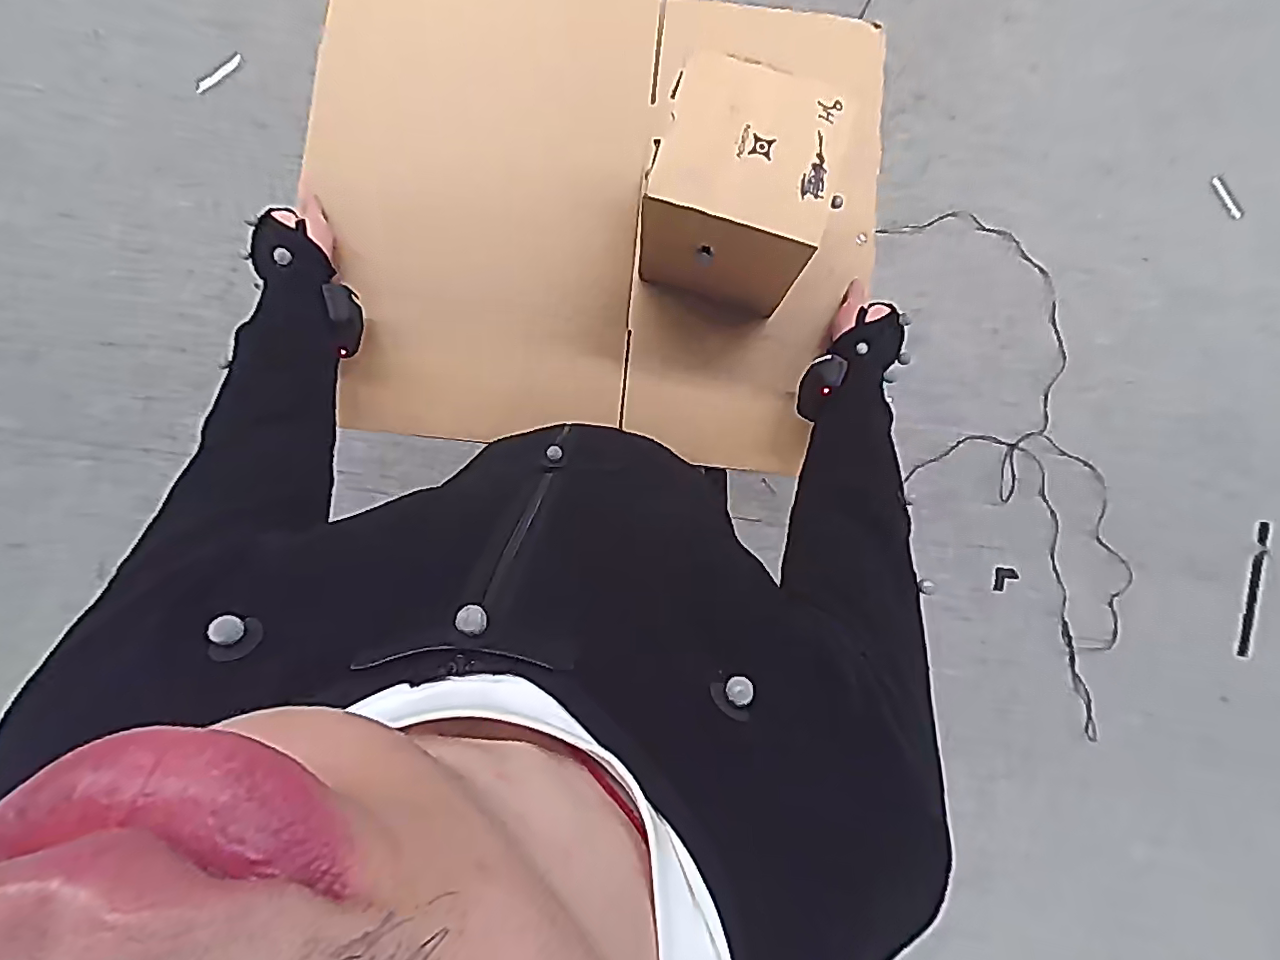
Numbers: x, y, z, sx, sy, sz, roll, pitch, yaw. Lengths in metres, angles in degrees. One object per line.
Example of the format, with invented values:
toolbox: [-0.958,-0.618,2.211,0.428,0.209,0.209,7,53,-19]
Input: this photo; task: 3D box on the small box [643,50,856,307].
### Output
small box: [0.107,-0.317,0.604,0.179,0.176,0.168,16,85,1]
